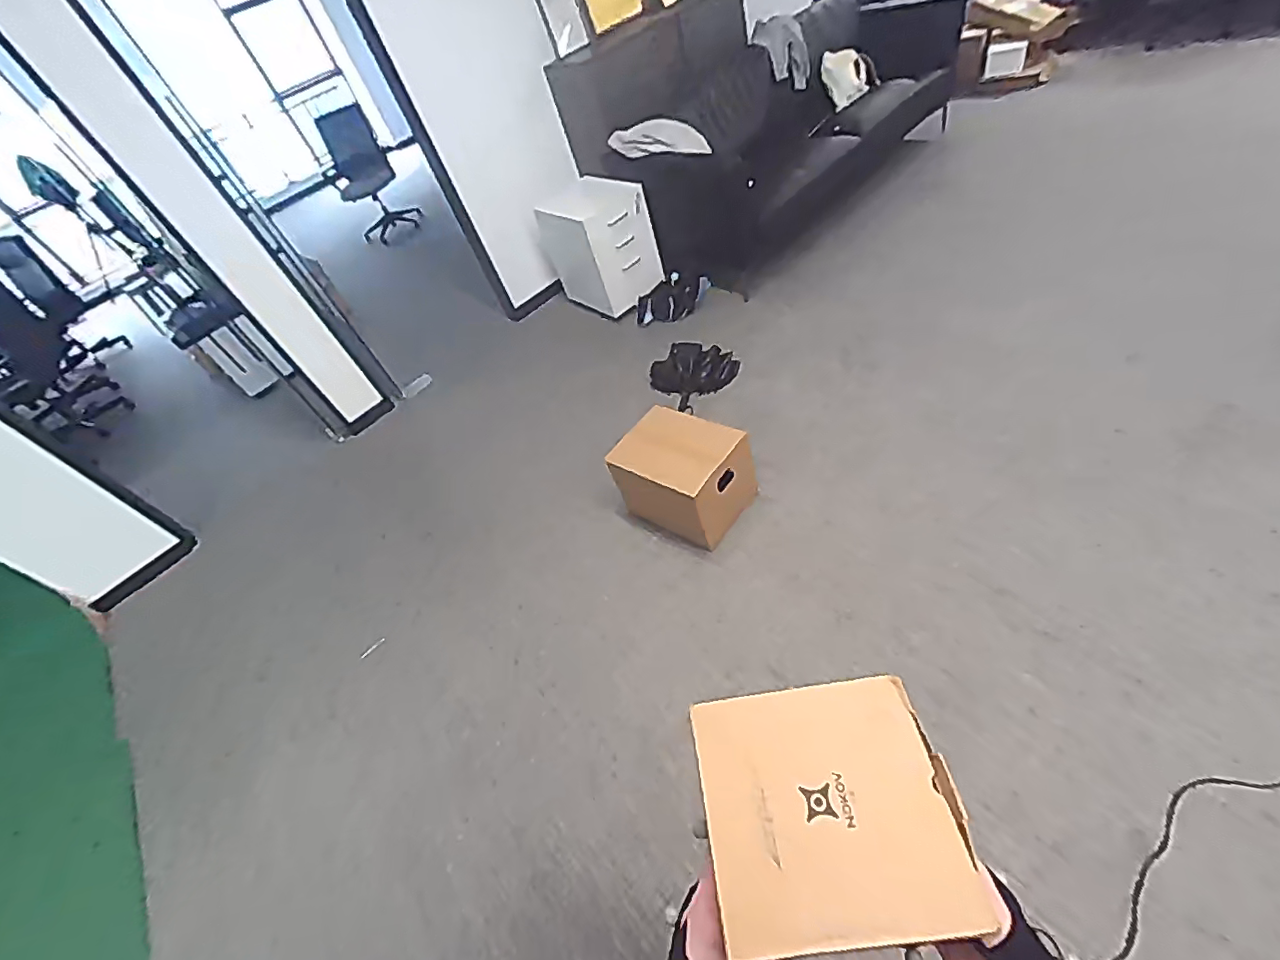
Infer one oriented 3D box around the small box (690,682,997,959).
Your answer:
[{"bbox_3d":[0.145,0.290,0.453,0.179,0.176,0.168,-11,48,4],"label":"small box"}]
